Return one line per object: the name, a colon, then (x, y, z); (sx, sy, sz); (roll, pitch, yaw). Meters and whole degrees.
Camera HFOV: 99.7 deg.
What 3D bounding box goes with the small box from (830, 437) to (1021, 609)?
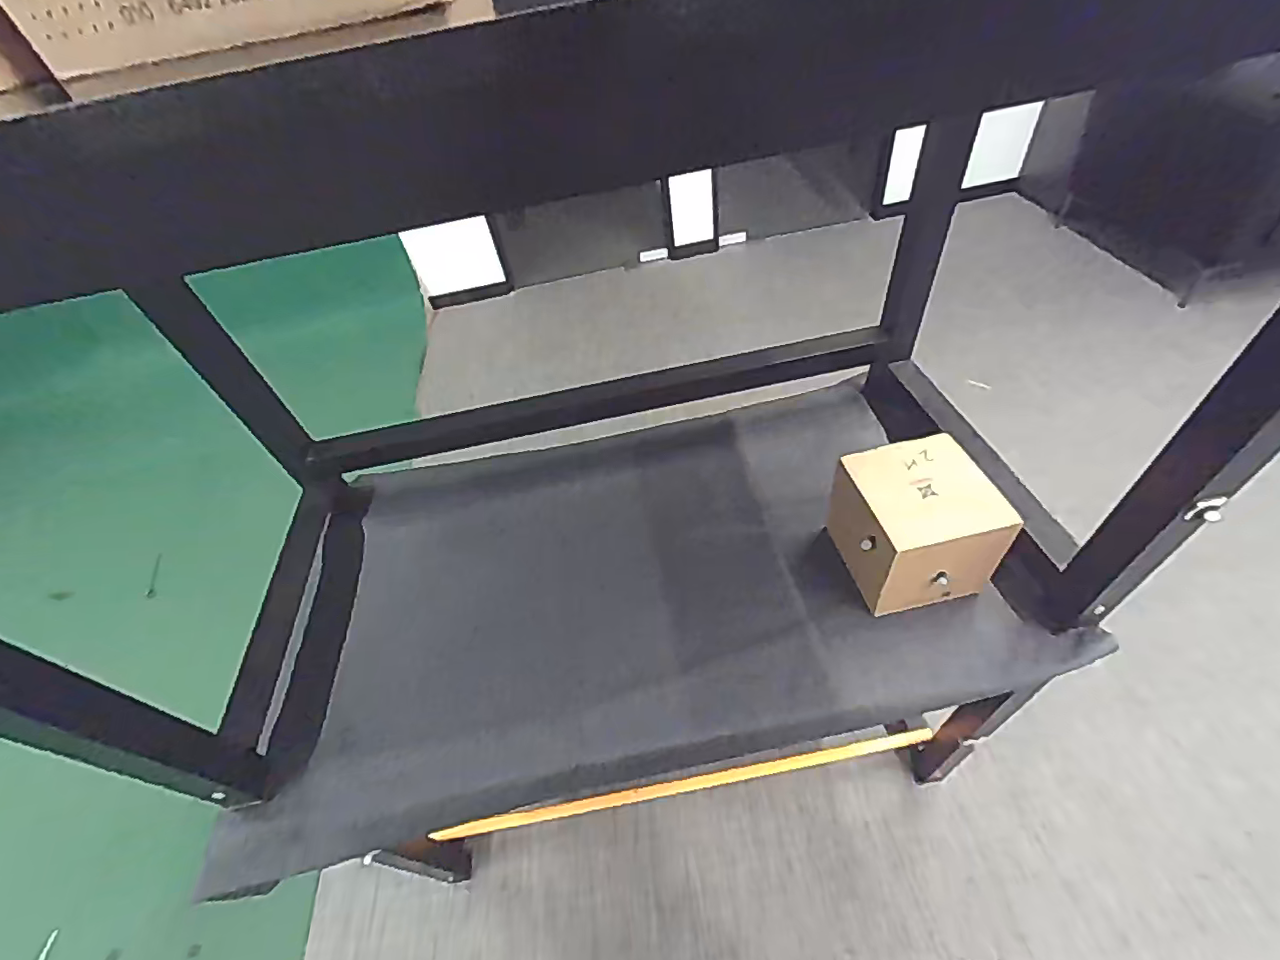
small box: (0.395, 0.070, 0.786); (0.168, 0.176, 0.179); (-13, 46, -1)
